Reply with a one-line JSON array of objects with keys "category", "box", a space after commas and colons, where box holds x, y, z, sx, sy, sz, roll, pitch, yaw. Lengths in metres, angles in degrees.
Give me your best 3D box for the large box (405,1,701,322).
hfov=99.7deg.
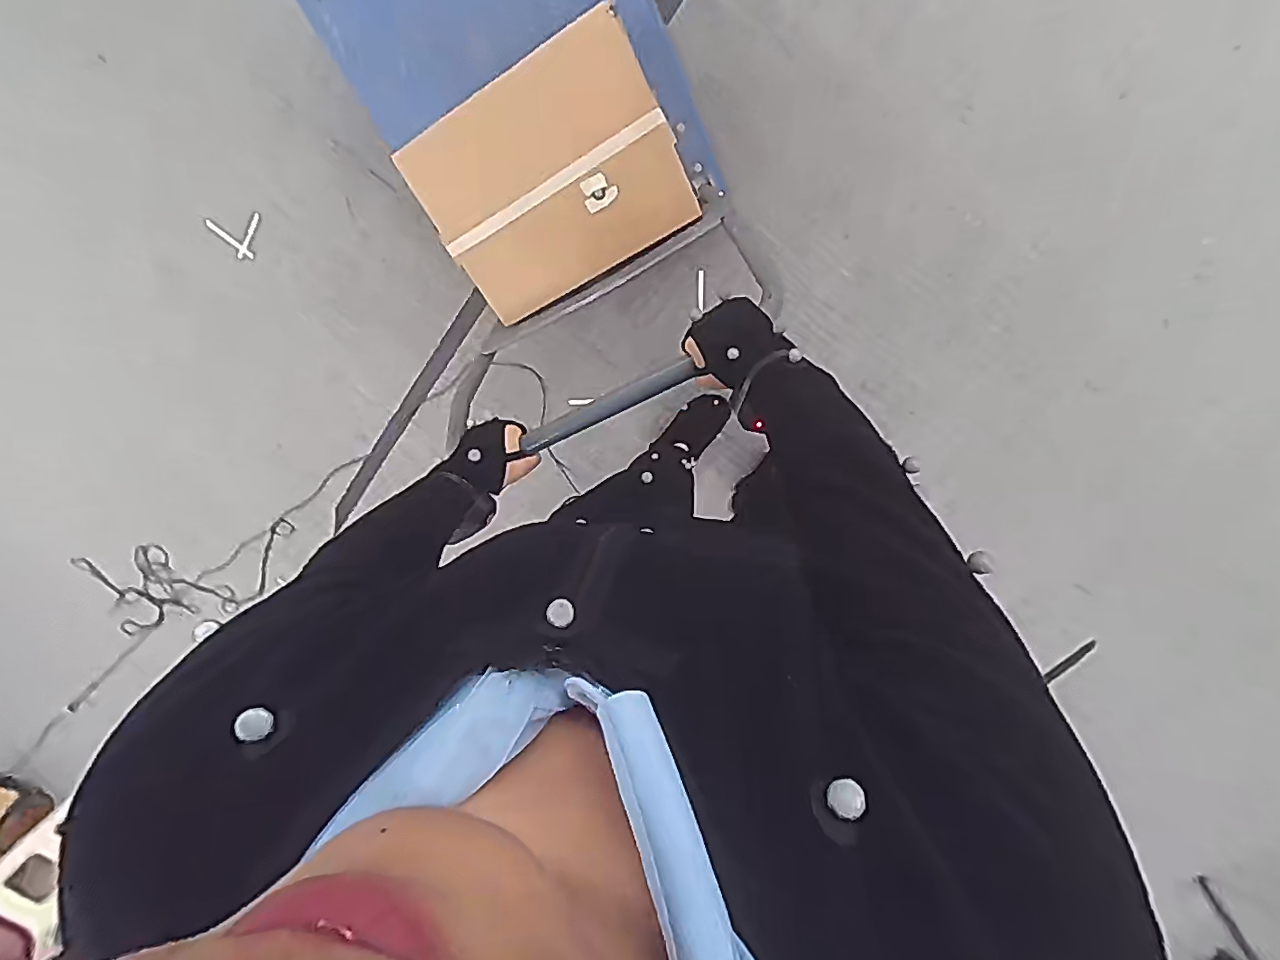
[{"category": "large box", "box": [-0.140, -0.564, 1.016, 0.408, 0.320, 0.320, -26, 119, 15]}]
